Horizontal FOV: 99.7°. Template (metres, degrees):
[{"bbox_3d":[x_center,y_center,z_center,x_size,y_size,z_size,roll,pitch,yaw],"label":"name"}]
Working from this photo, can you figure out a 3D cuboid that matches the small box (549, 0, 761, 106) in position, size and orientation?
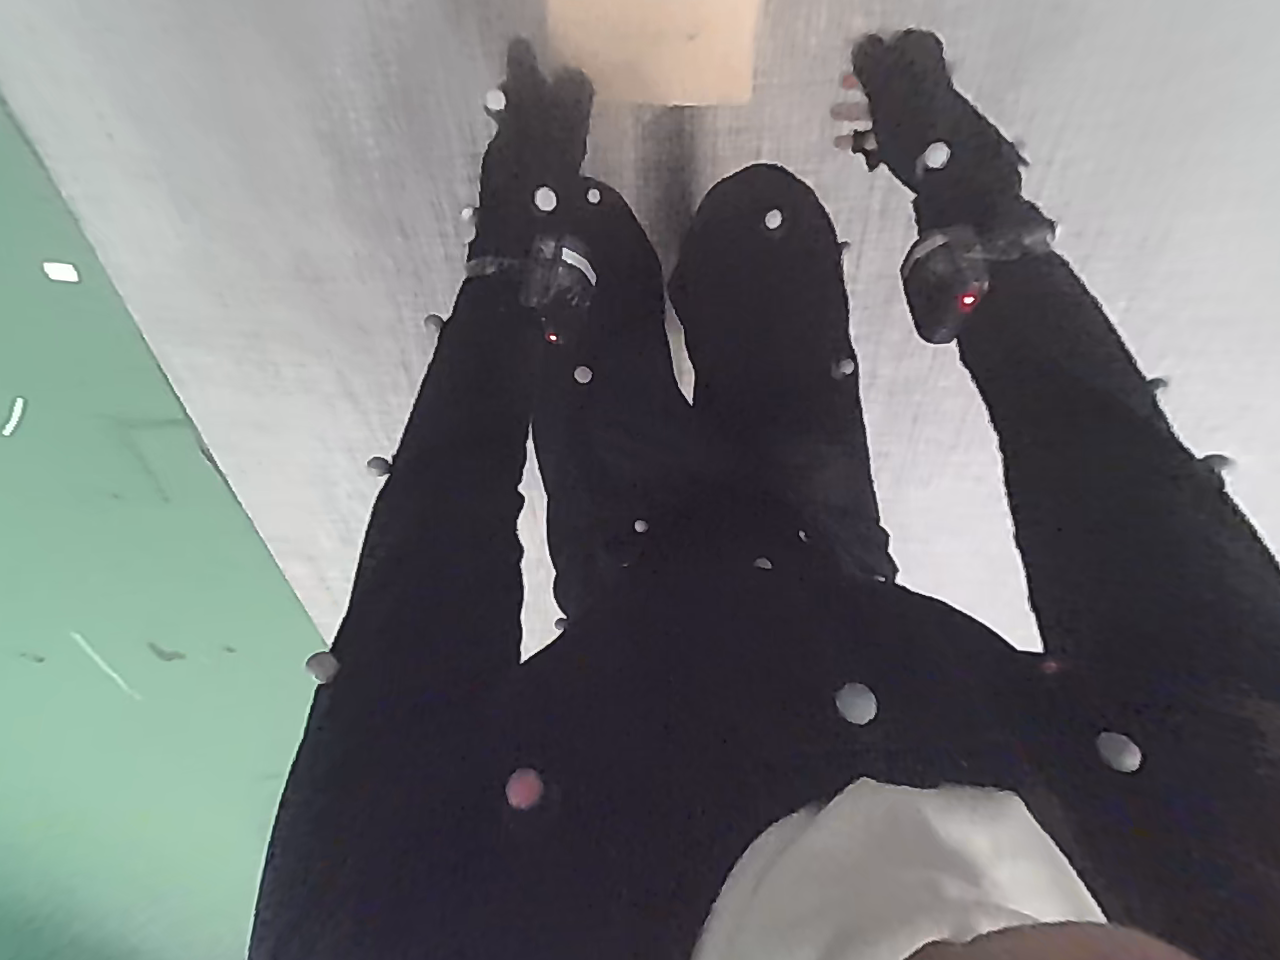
[{"bbox_3d":[0.016,-0.433,0.466,0.168,0.176,0.179,4,126,2],"label":"small box"}]
